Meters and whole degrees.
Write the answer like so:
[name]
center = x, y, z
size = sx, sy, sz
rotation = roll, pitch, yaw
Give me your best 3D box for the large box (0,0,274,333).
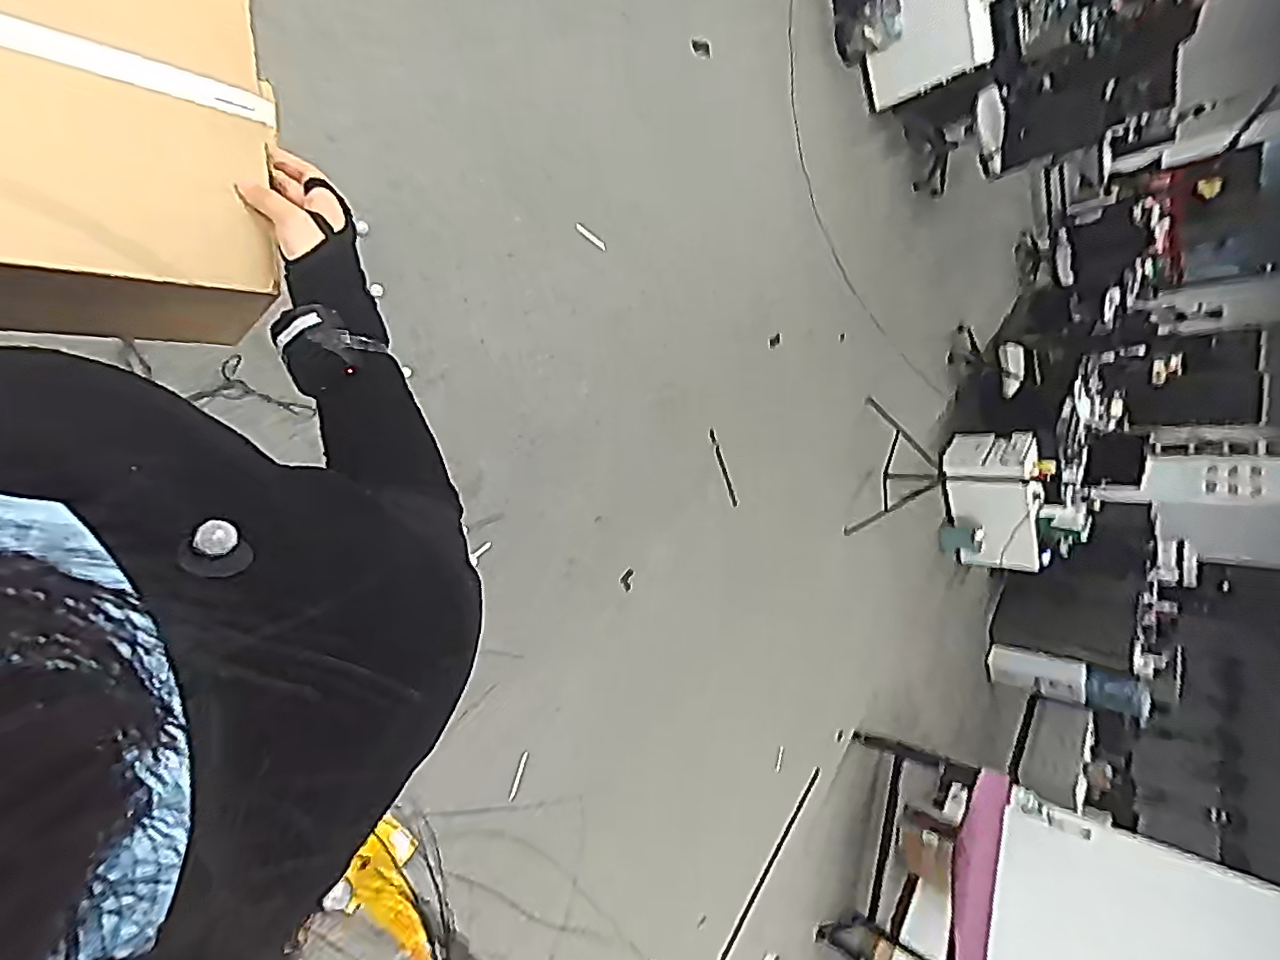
[large box]
center = -0.586, -0.315, 0.460
size = 0.408, 0.320, 0.320
rotation = -6, 96, -42
